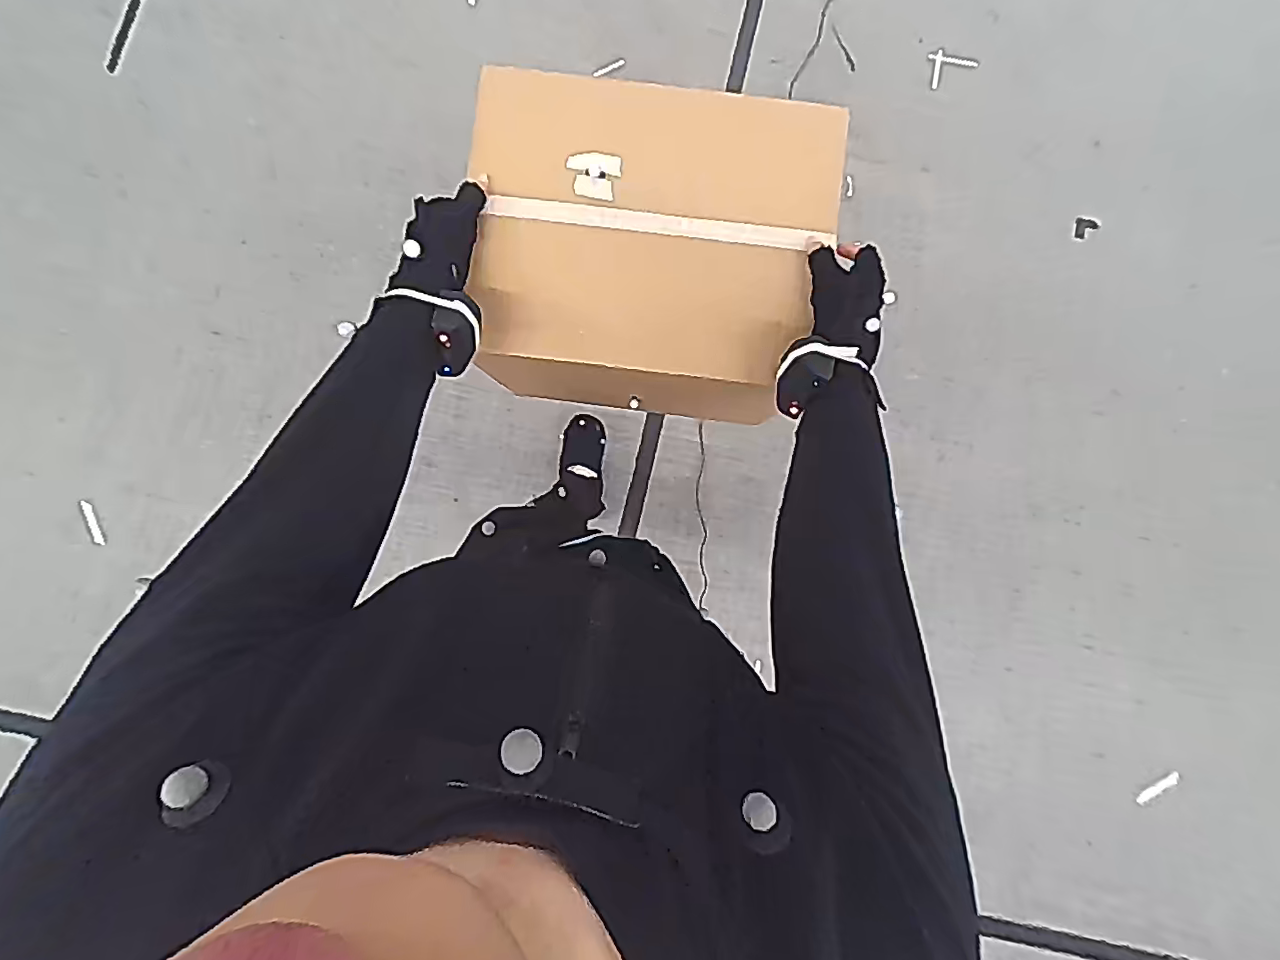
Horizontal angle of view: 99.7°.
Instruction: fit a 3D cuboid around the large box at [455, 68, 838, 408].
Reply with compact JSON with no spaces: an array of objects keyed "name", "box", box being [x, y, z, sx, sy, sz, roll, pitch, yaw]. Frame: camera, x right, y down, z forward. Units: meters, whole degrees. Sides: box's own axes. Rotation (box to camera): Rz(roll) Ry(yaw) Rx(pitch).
[{"name":"large box","box":[0.010,-0.286,0.745,0.408,0.320,0.320,7,89,0]}]
